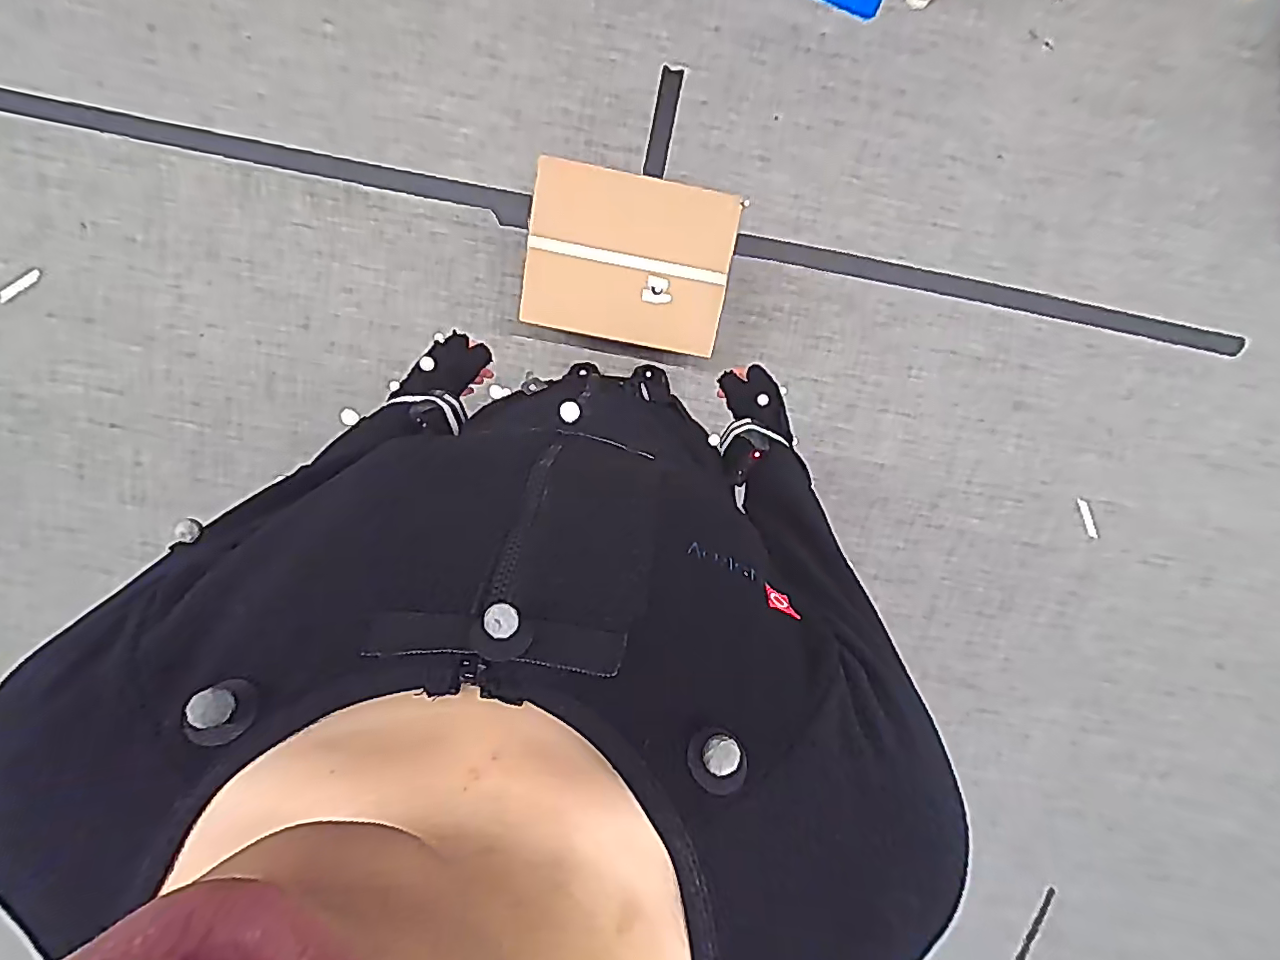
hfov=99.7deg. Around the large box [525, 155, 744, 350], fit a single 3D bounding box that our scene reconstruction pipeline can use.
[{"bbox_3d":[-0.022,-0.484,1.222,0.408,0.320,0.320,10,105,-4],"label":"large box"}]
